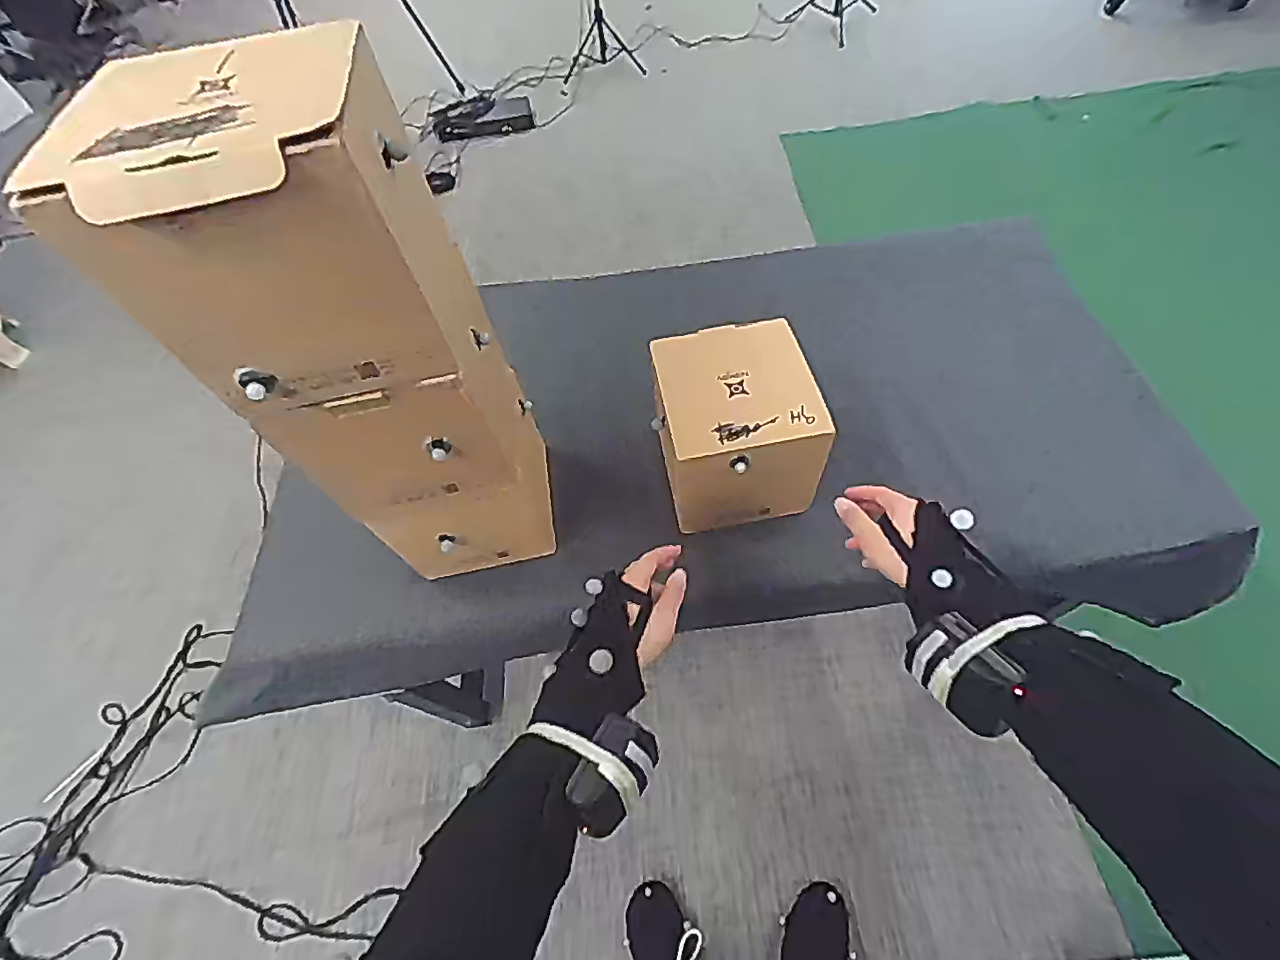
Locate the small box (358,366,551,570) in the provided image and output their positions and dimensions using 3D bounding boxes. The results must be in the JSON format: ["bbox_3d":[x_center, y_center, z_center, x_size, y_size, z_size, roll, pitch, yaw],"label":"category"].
[{"bbox_3d":[-0.210,-0.005,0.652,0.168,0.176,0.179,-11,57,-2],"label":"small box"}]

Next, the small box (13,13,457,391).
[{"bbox_3d":[-0.236,-0.180,0.377,0.168,0.176,0.179,-12,56,-4],"label":"small box"}]

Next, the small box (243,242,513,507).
[{"bbox_3d":[-0.224,-0.090,0.515,0.168,0.176,0.179,-11,56,-3],"label":"small box"}]

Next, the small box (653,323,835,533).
[{"bbox_3d":[0.110,-0.059,0.655,0.168,0.176,0.179,-10,56,-1],"label":"small box"}]
